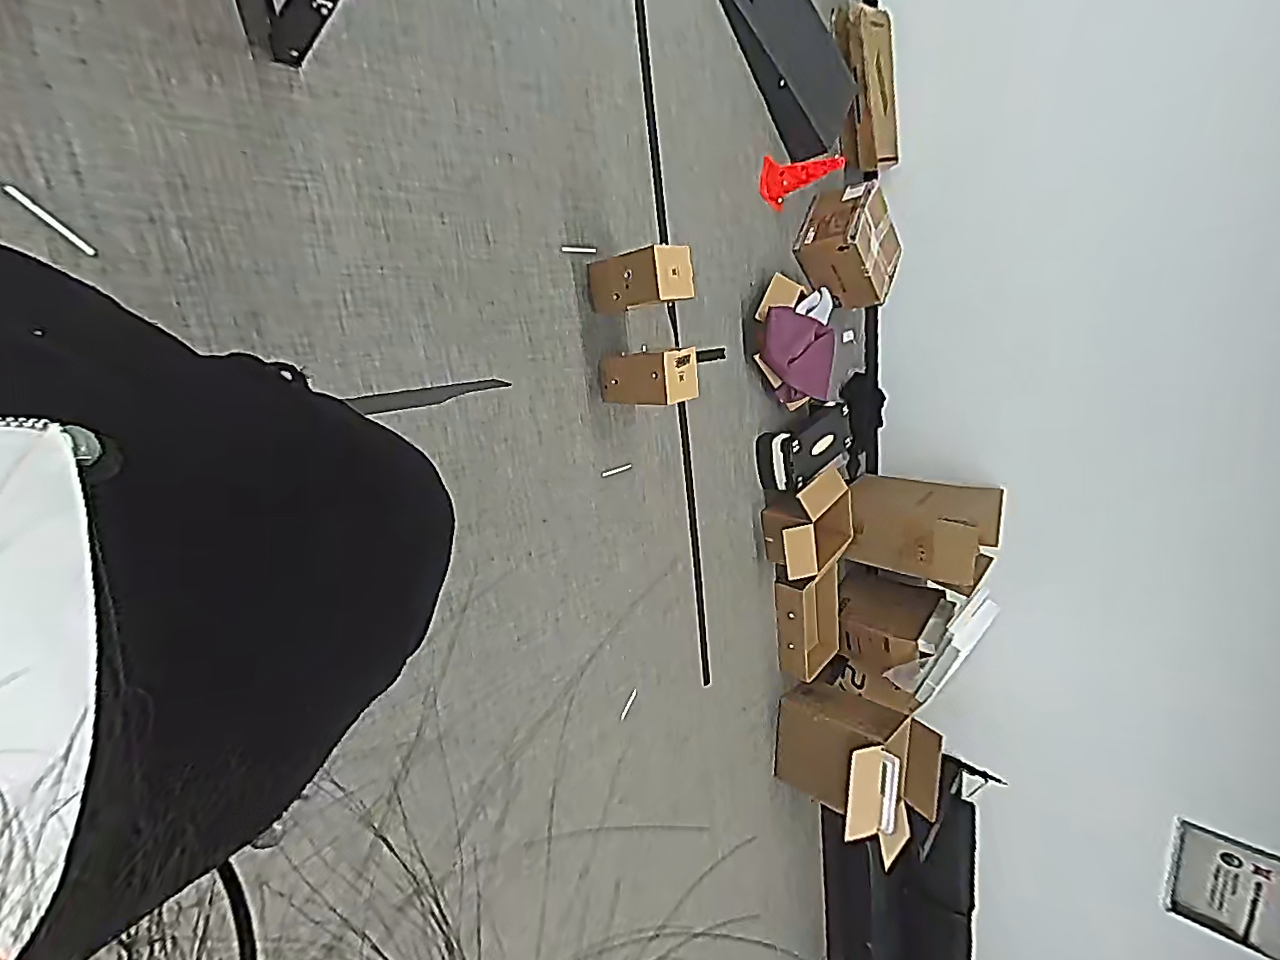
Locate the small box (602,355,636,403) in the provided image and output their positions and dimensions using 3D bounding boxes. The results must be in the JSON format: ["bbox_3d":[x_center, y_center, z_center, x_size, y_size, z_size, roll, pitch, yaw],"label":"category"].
[{"bbox_3d":[-0.026,-0.375,1.992,0.179,0.176,0.168,-18,109,-41],"label":"small box"}]

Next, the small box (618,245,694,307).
[{"bbox_3d":[0.053,-0.674,1.790,0.179,0.176,0.168,-21,109,-40],"label":"small box"}]

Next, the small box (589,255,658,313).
[{"bbox_3d":[-0.058,-0.690,1.907,0.168,0.176,0.179,-23,112,-41],"label":"small box"}]

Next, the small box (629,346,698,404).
[{"bbox_3d":[0.078,-0.362,1.863,0.168,0.176,0.179,-21,112,-41],"label":"small box"}]
